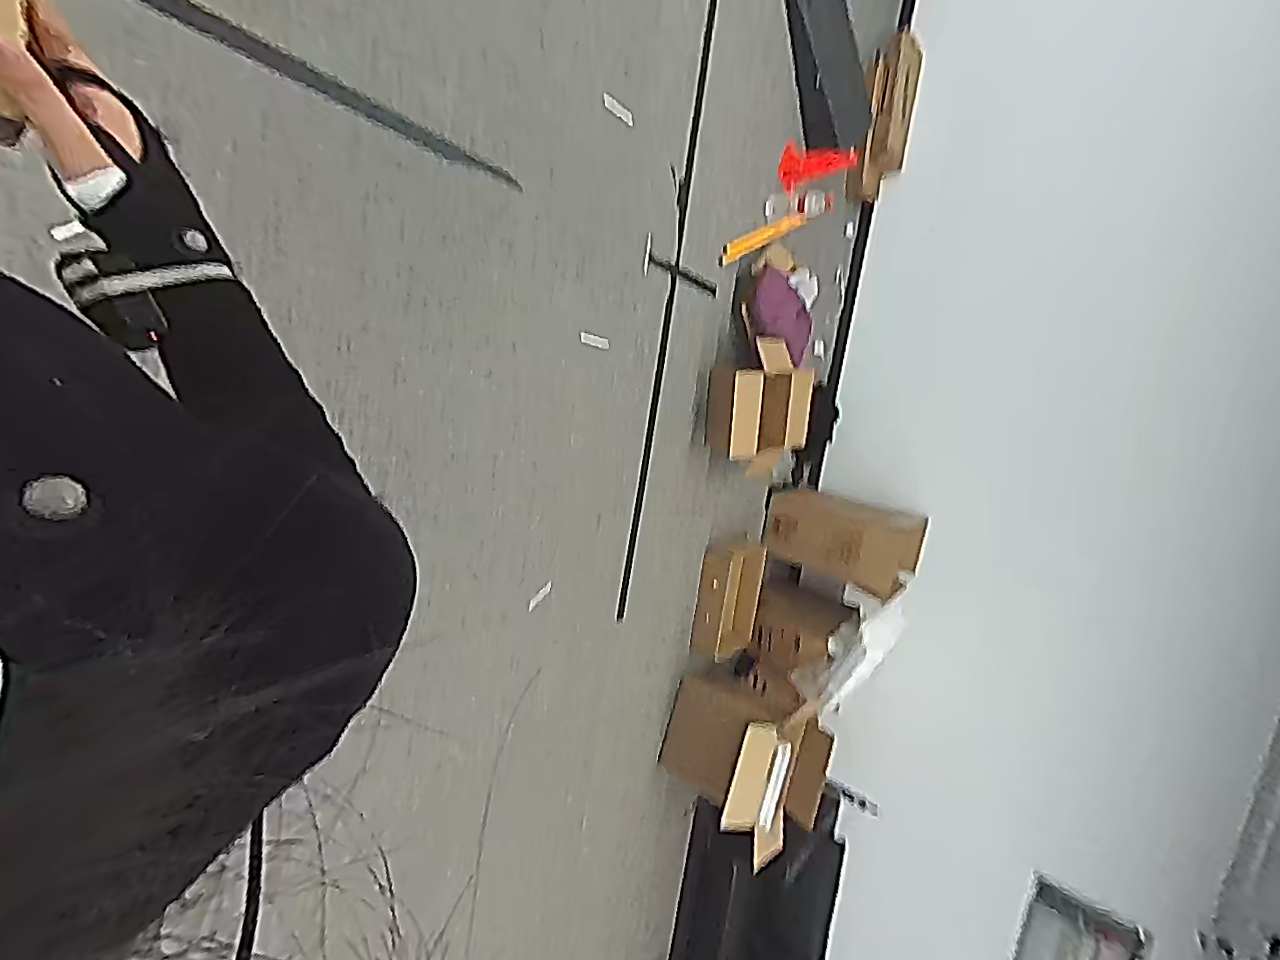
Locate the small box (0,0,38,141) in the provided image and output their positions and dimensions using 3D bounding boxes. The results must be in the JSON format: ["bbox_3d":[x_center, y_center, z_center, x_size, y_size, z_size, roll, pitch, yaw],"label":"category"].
[{"bbox_3d":[-0.467,-0.314,0.299,0.179,0.176,0.168,-2,108,-51],"label":"small box"}]
